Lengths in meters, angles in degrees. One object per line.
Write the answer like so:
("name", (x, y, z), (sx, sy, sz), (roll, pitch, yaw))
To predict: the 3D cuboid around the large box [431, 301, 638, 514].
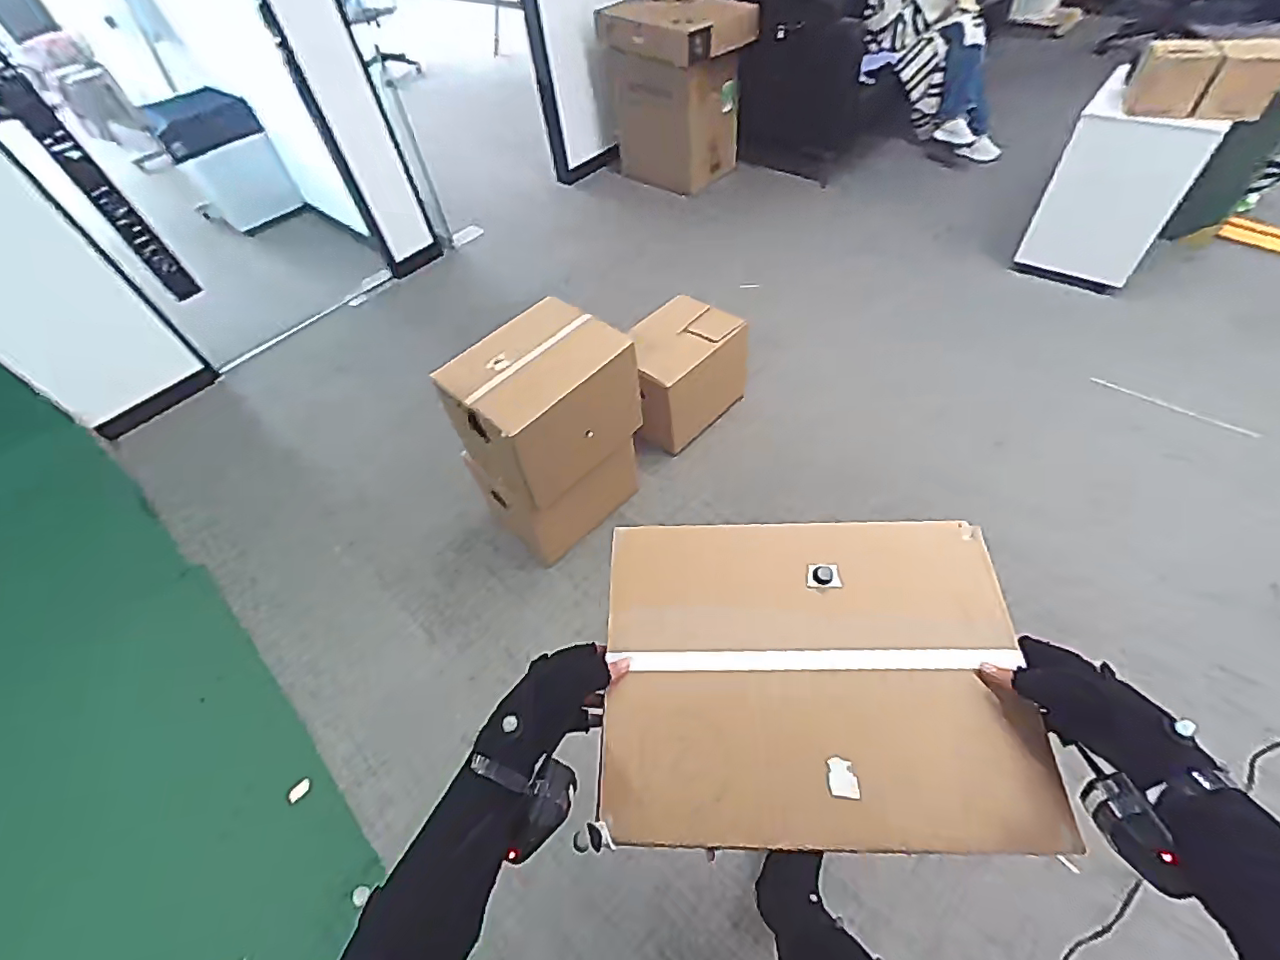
("large box", (-0.251, -0.193, 1.431), (0.320, 0.320, 0.408), (34, 64, 26))
